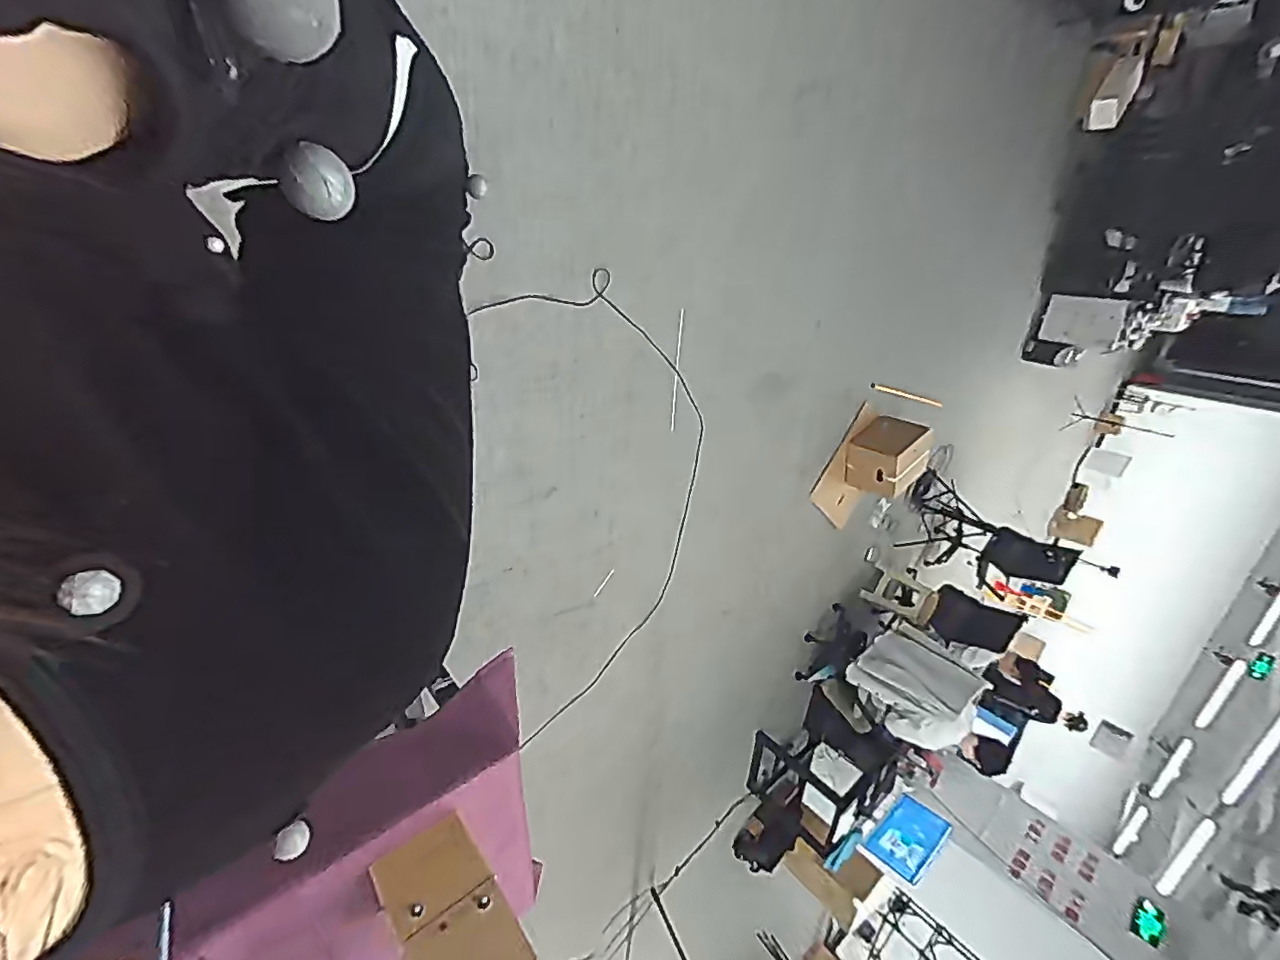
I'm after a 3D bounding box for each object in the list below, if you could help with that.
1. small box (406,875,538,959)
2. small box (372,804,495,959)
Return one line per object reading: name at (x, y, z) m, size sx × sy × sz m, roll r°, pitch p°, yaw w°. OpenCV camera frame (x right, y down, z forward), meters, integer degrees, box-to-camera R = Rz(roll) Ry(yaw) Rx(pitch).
small box at (-0.293, 0.848, 0.948) m, size 0.168 × 0.176 × 0.179 m, roll -19°, pitch 125°, yaw -36°
small box at (-0.398, 0.787, 1.058) m, size 0.179 × 0.176 × 0.168 m, roll -18°, pitch 123°, yaw -36°
